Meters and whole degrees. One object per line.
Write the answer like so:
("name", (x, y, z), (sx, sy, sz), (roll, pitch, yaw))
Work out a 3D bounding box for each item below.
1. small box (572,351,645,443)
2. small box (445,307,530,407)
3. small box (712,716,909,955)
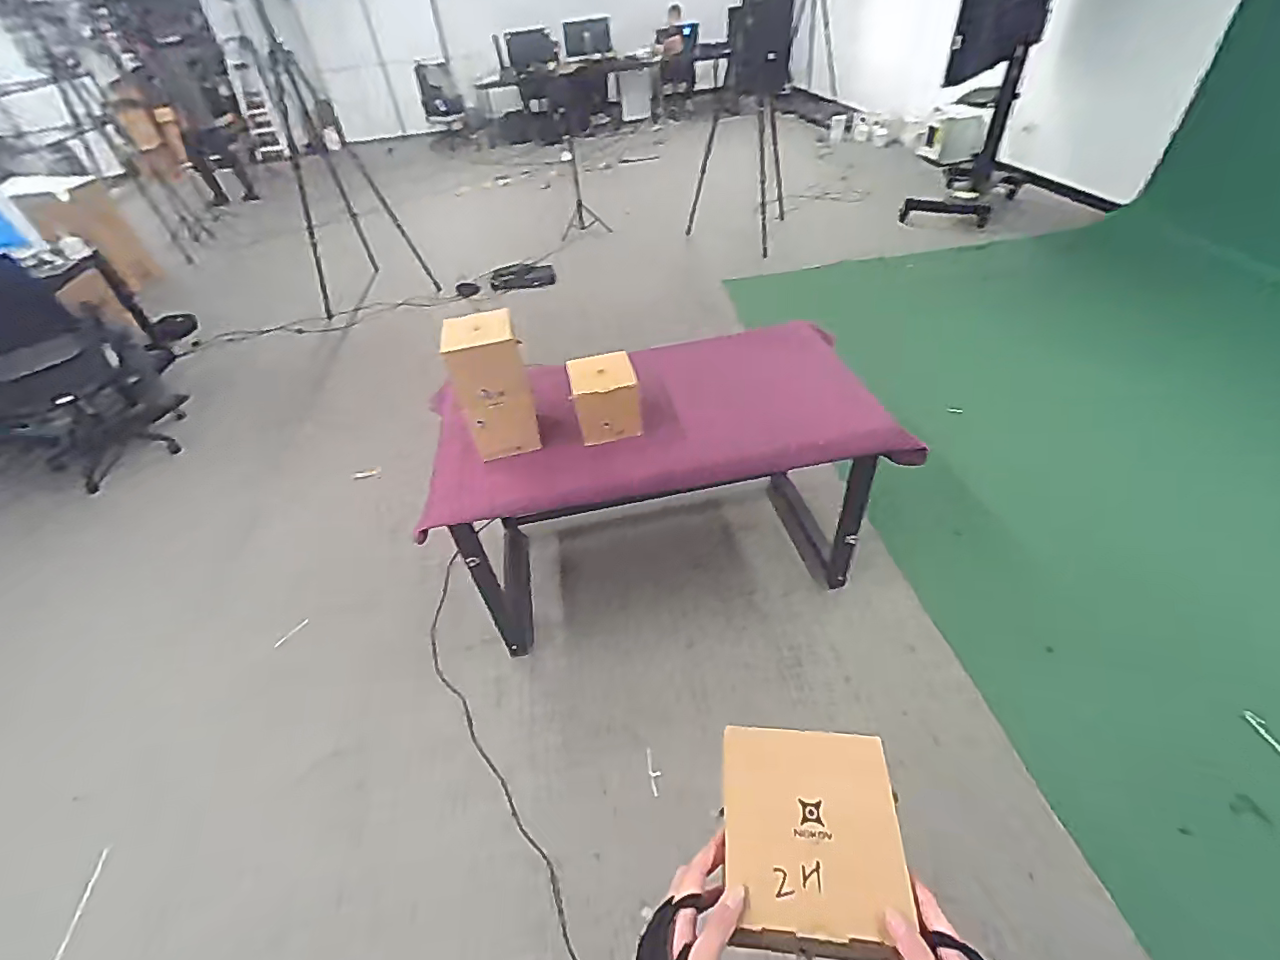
("small box", (-0.086, -0.225, 1.475), (0.168, 0.176, 0.179), (-11, 44, -5))
("small box", (-0.376, -0.308, 1.353), (0.168, 0.176, 0.179), (-12, 43, -6))
("small box", (0.164, 0.382, 0.584), (0.168, 0.176, 0.179), (1, 46, 8))
